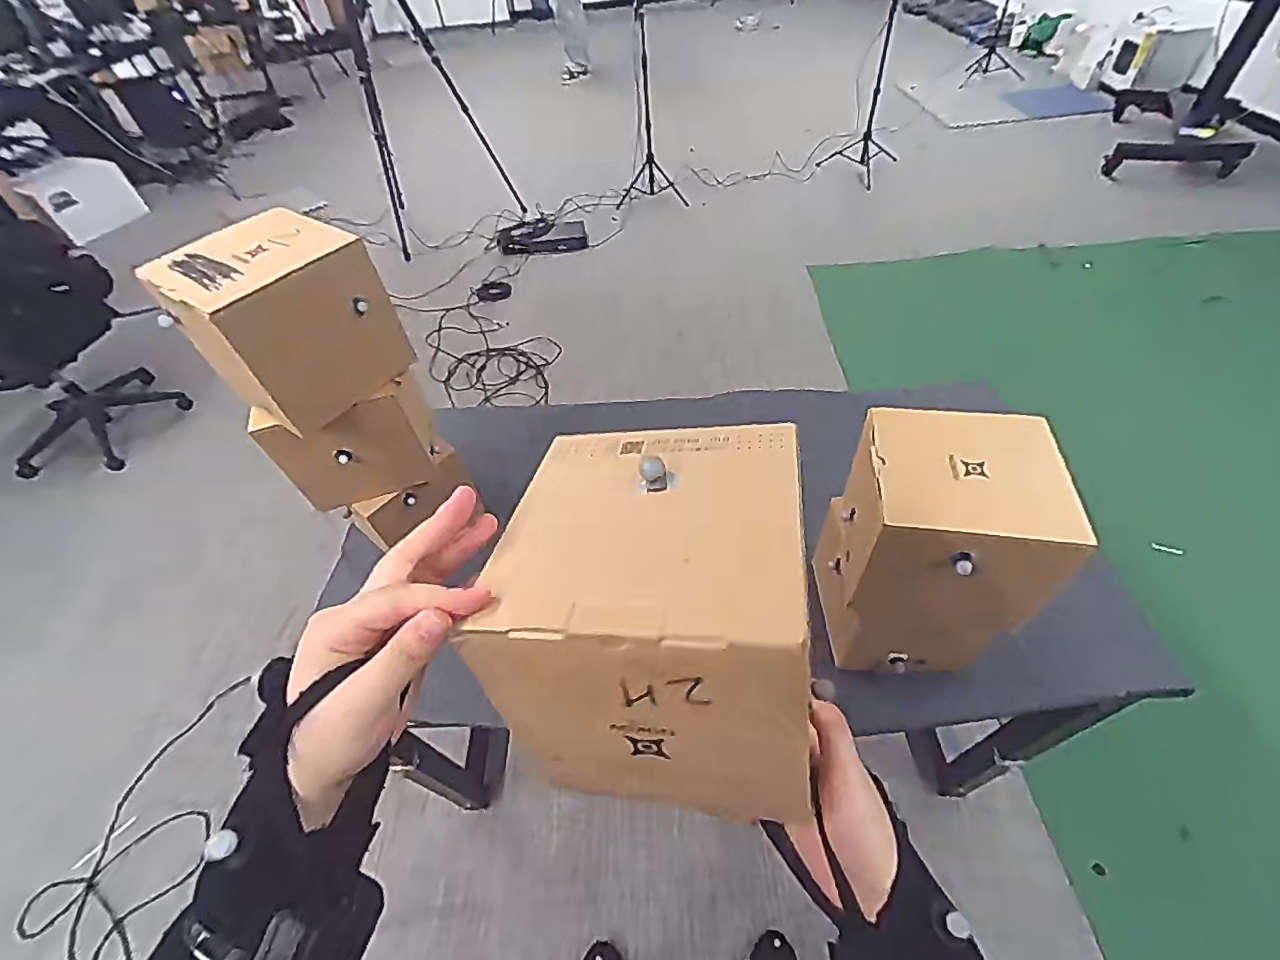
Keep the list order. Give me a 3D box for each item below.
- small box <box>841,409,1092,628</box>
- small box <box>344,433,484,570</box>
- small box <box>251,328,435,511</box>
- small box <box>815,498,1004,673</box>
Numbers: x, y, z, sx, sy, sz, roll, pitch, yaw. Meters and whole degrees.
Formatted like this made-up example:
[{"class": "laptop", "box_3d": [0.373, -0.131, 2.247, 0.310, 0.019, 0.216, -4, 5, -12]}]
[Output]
[{"class": "small box", "box_3d": [0.326, 0.044, 0.587, 0.179, 0.176, 0.168, 4, 49, 12]}, {"class": "small box", "box_3d": [-0.394, 0.019, 0.903, 0.179, 0.176, 0.168, 30, 59, 27]}, {"class": "small box", "box_3d": [-0.408, -0.083, 0.774, 0.179, 0.176, 0.168, -18, 51, -8]}, {"class": "small box", "box_3d": [0.340, 0.139, 0.718, 0.168, 0.176, 0.179, -3, 49, 5]}]
